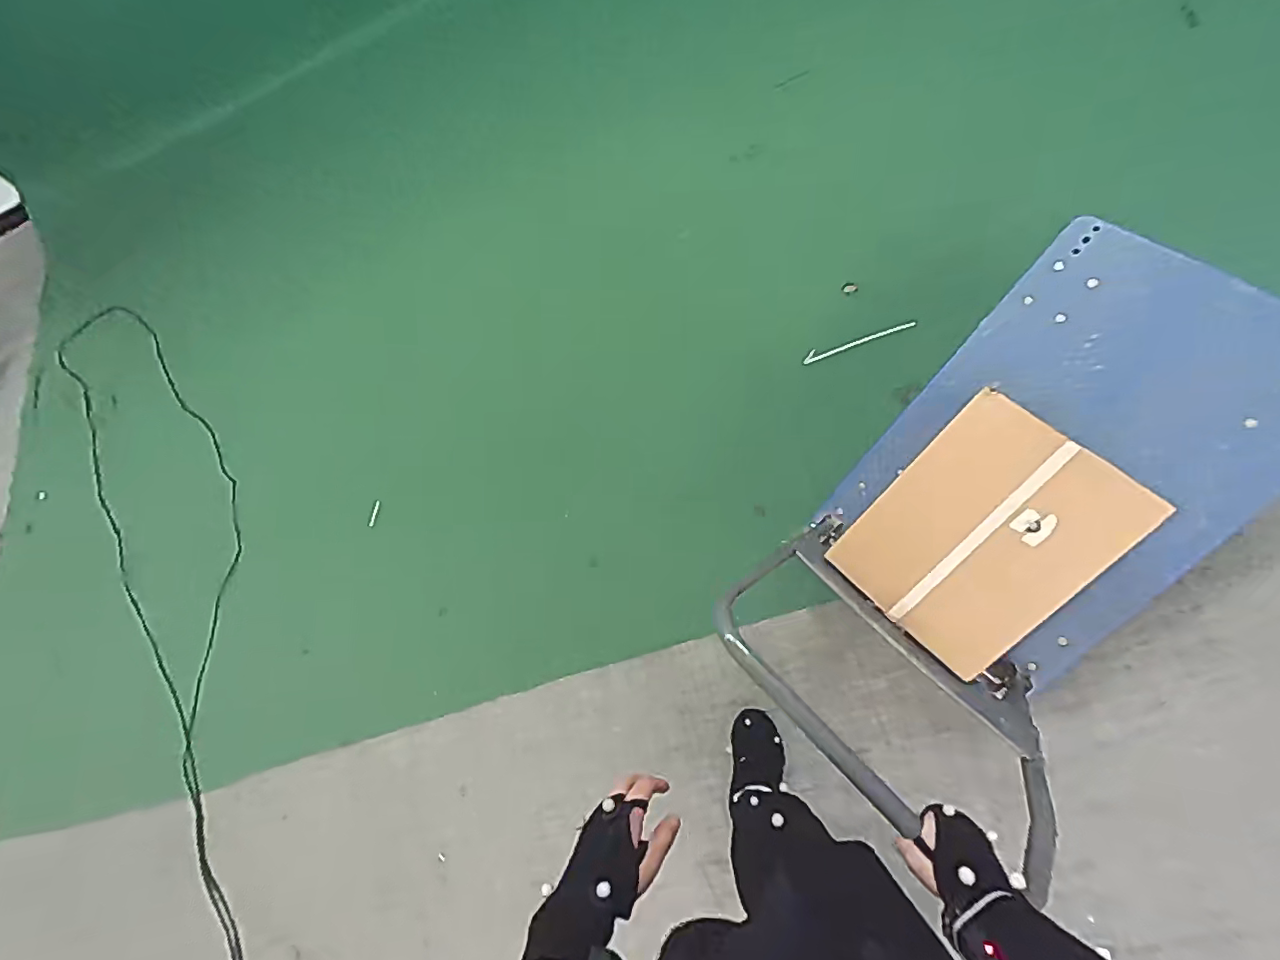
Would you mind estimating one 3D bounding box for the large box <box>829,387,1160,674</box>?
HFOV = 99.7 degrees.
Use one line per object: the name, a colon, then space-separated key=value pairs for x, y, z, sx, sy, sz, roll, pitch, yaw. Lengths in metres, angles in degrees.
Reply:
large box: x=0.643 y=0.093 z=1.054 sx=0.320 sy=0.320 sz=0.408 roll=45 pitch=109 yaw=22
